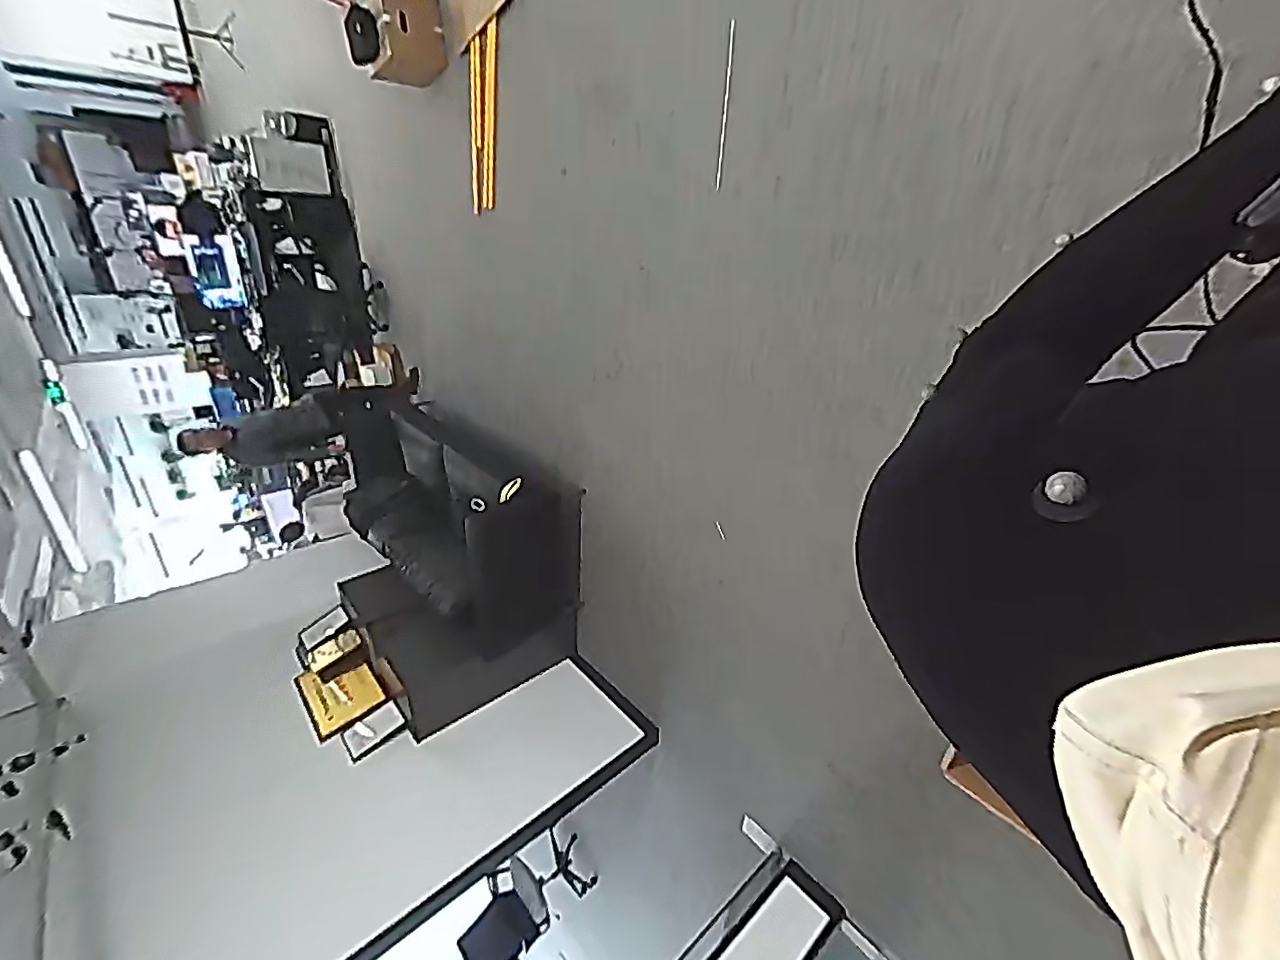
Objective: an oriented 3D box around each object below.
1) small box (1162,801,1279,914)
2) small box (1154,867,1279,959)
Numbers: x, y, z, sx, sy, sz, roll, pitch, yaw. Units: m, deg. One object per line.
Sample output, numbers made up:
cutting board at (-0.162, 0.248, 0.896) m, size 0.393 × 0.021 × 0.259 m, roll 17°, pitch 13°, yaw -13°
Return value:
small box at (1.043, 0.700, 0.913) m, size 0.168 × 0.176 × 0.179 m, roll 31°, pitch 128°, yaw 39°
small box at (0.922, 0.743, 0.811) m, size 0.168 × 0.176 × 0.179 m, roll 32°, pitch 128°, yaw 37°
